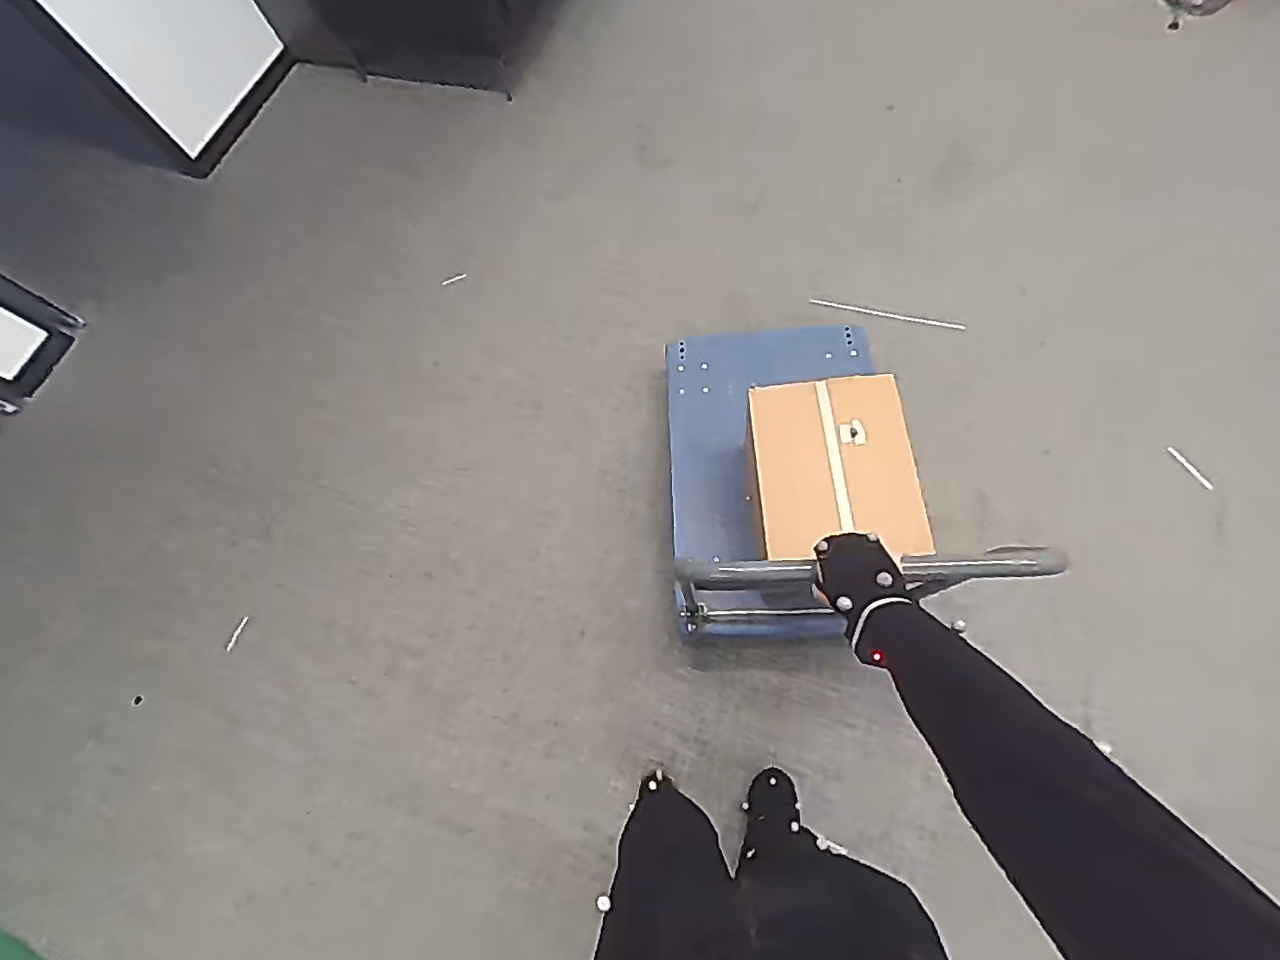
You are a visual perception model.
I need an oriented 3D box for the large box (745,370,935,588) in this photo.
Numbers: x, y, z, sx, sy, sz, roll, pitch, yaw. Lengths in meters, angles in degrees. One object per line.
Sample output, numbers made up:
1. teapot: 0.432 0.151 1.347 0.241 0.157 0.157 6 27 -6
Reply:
1. large box: 0.424 0.013 1.251 0.320 0.320 0.408 -5 67 6
